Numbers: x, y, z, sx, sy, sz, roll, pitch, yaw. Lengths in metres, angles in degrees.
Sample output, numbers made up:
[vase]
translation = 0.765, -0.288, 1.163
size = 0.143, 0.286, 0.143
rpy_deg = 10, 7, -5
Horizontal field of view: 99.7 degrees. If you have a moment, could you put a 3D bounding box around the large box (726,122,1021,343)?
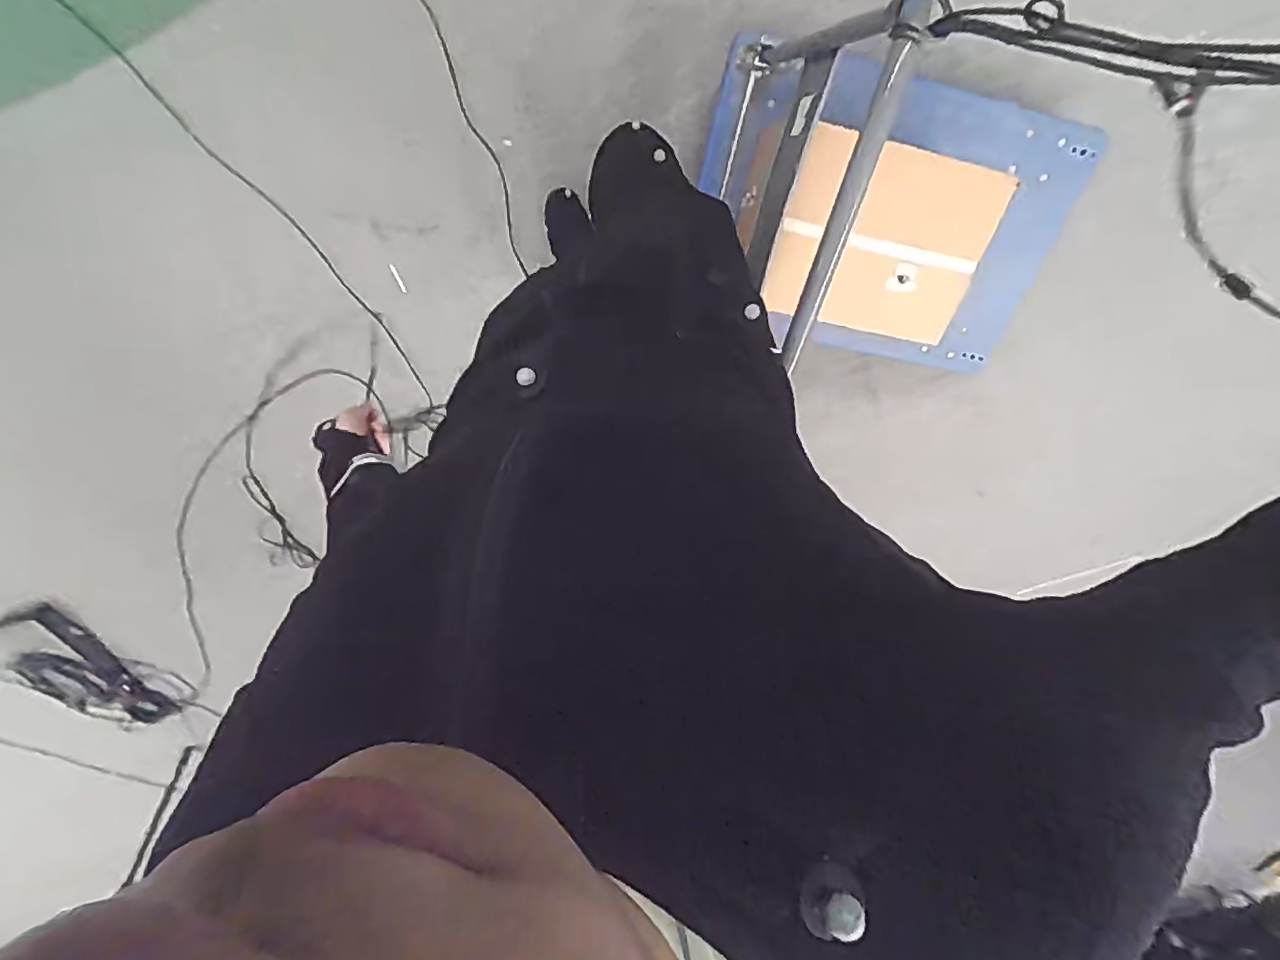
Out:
[large box]
translation = 0.434, -0.509, 1.115
size = 0.408, 0.320, 0.320
rpy_deg = 9, 122, -10
